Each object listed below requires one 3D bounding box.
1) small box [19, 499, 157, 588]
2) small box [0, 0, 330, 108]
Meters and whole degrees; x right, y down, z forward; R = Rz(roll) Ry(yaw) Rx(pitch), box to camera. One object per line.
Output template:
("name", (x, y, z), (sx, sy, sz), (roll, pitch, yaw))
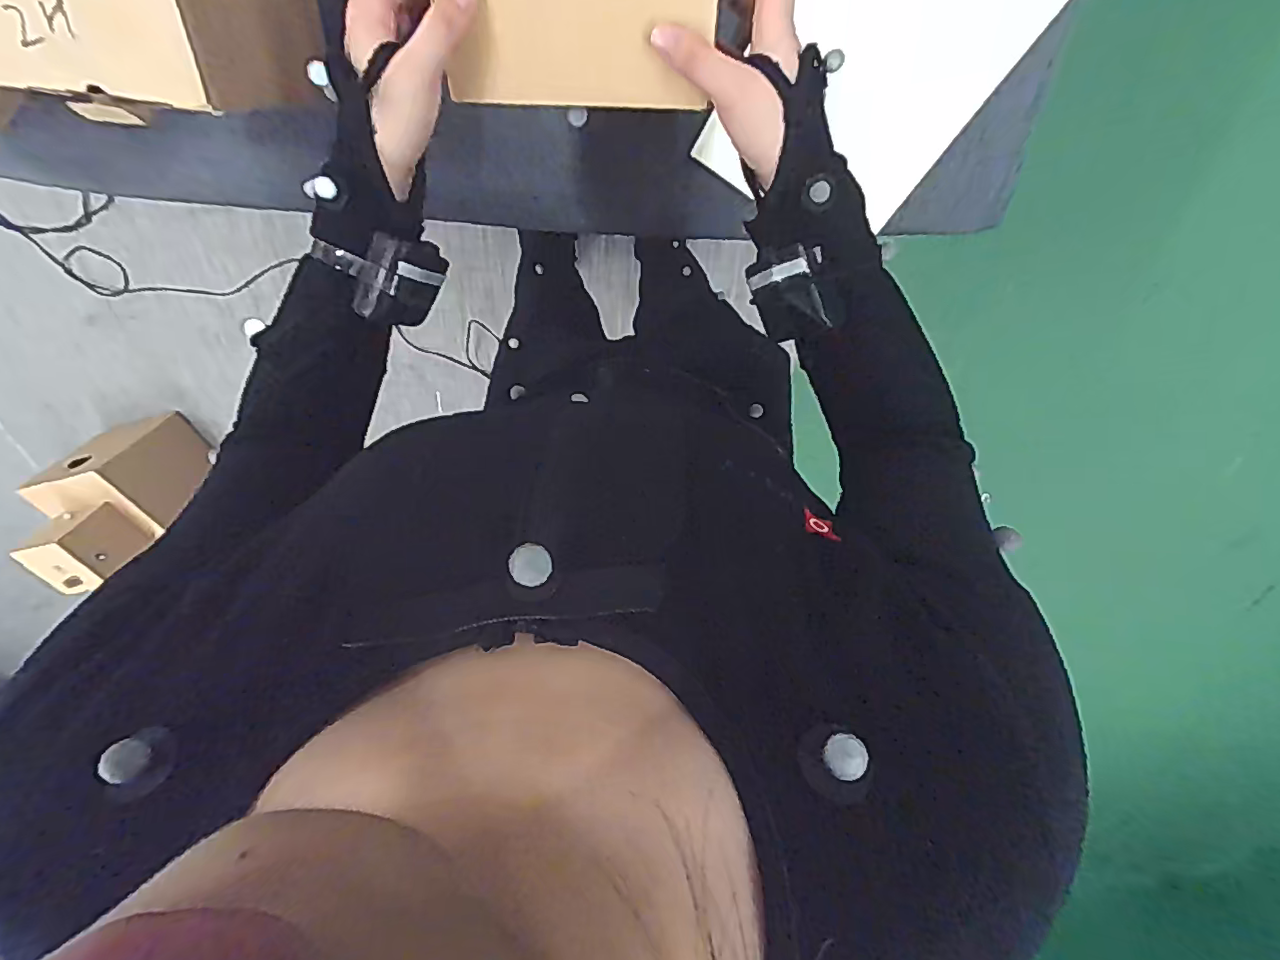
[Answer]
("small box", (-1.542, 0.179, 1.527), (0.168, 0.176, 0.179), (-11, 127, 12))
("small box", (-0.364, -0.388, 0.391), (0.168, 0.176, 0.179), (7, 129, 1))
